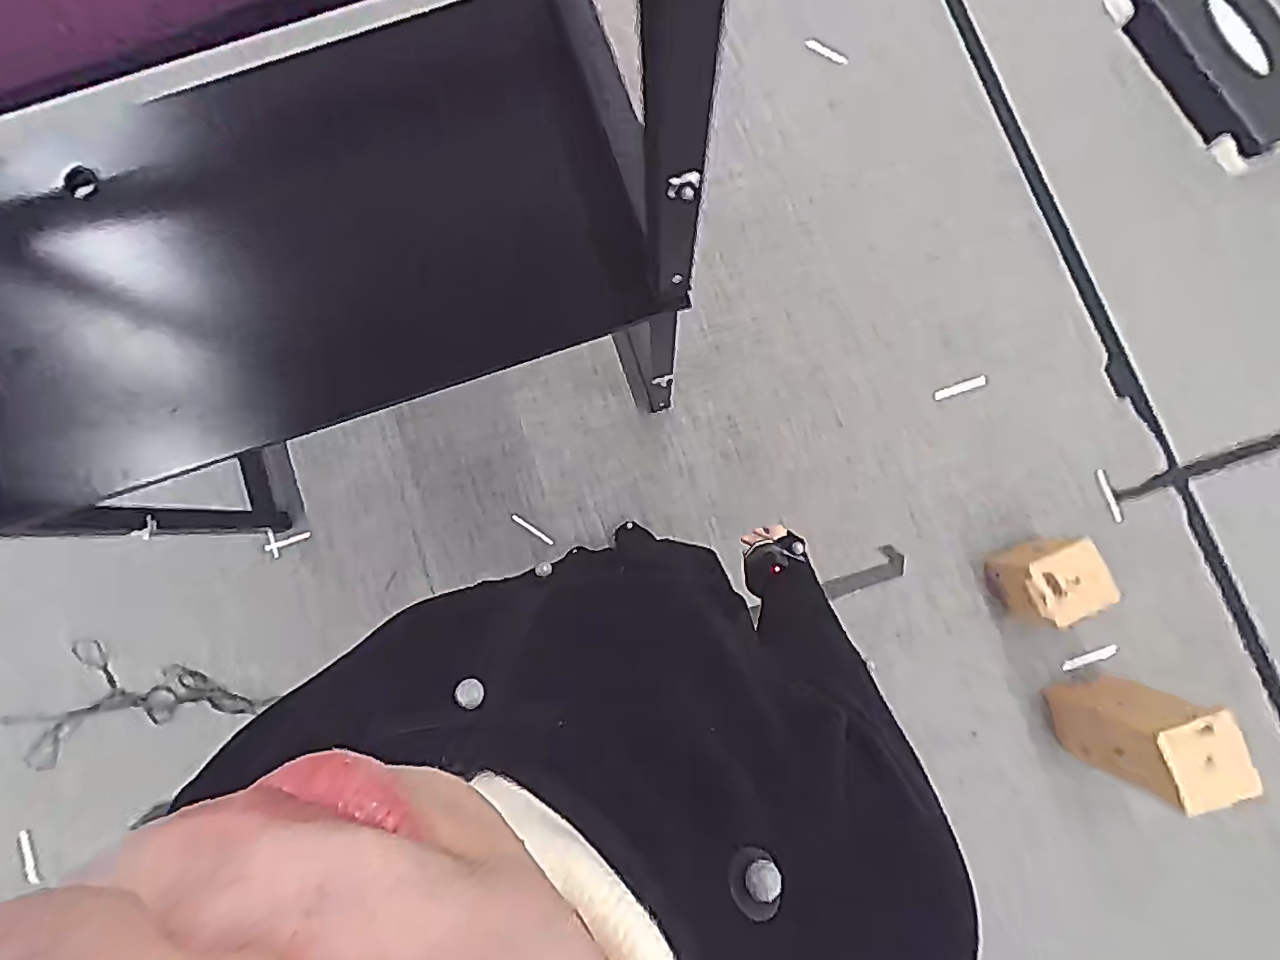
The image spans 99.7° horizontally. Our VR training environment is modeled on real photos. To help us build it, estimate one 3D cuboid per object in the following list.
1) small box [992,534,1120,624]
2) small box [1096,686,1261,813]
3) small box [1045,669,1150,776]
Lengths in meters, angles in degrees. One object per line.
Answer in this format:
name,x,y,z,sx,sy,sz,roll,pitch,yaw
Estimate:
small box,1.048,0.248,1.386,0.179,0.176,0.168,-25,85,-1
small box,1.173,0.584,1.193,0.168,0.176,0.179,-18,86,-1
small box,1.175,0.600,1.356,0.168,0.176,0.179,-17,85,0
